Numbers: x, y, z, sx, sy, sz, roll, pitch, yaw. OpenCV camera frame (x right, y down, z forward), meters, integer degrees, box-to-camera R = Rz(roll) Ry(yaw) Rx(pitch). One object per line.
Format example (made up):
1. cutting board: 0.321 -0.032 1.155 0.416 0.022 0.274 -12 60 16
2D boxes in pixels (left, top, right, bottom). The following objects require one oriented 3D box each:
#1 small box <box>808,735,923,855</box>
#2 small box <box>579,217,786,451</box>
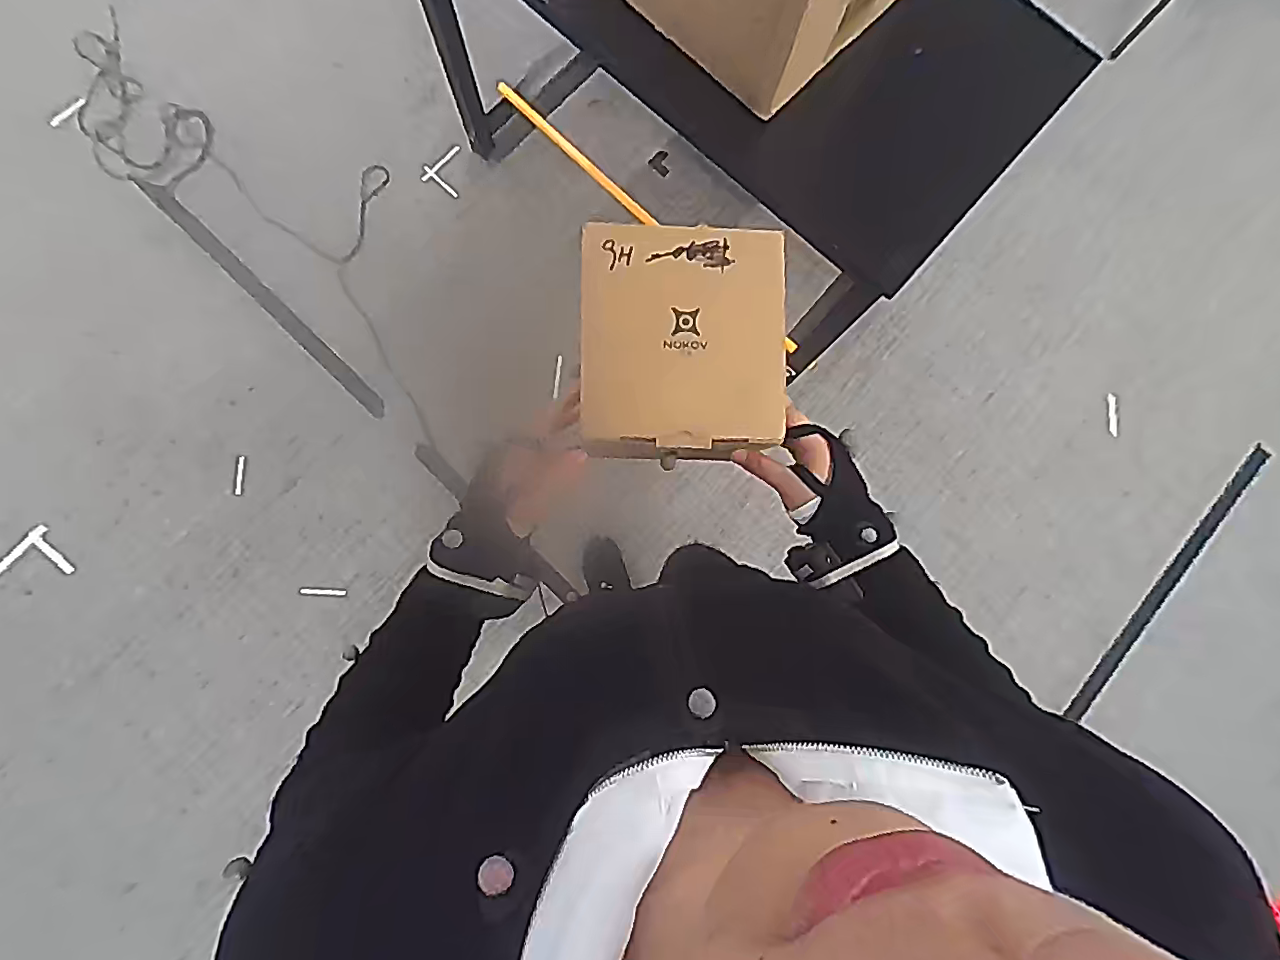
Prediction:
1. small box: 0.566 0.790 1.380 0.179 0.176 0.168 41 82 4
2. small box: 0.030 -0.119 0.509 0.168 0.176 0.179 0 88 -5
